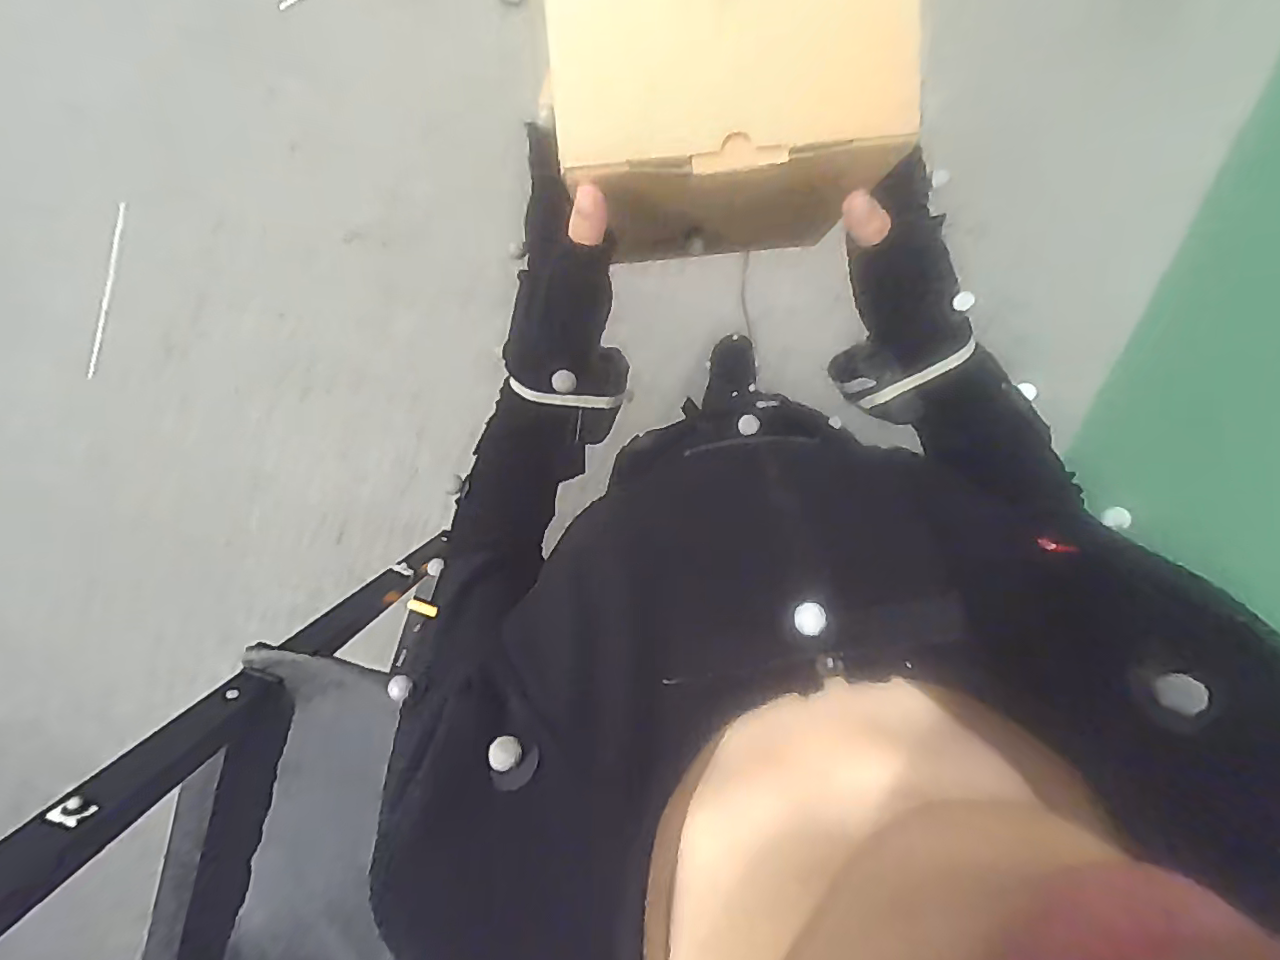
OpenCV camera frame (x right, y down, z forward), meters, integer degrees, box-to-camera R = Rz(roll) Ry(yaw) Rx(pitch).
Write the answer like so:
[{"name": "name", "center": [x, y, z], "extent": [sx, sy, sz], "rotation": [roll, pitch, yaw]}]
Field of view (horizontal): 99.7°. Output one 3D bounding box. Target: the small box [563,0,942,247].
[{"name": "small box", "center": [0.046, -0.252, 0.308], "extent": [0.168, 0.176, 0.179], "rotation": [-4, 99, 3]}]
